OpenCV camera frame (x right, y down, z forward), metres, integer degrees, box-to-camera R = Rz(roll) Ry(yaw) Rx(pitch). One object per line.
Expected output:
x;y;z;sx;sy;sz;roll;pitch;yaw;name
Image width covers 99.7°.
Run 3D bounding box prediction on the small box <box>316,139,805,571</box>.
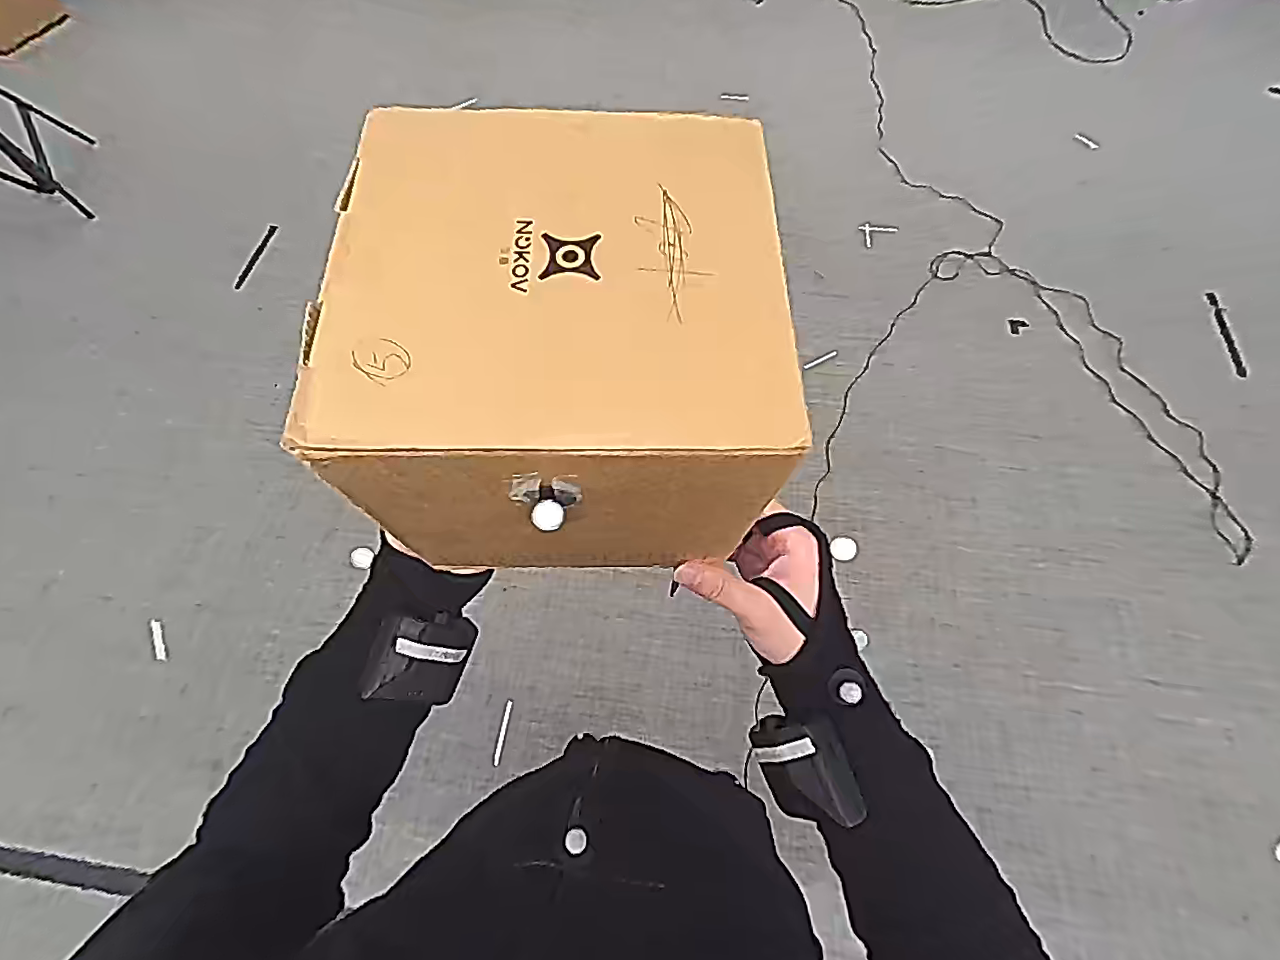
-0.032;-0.049;0.294;0.179;0.176;0.168;0;68;-4;small box
